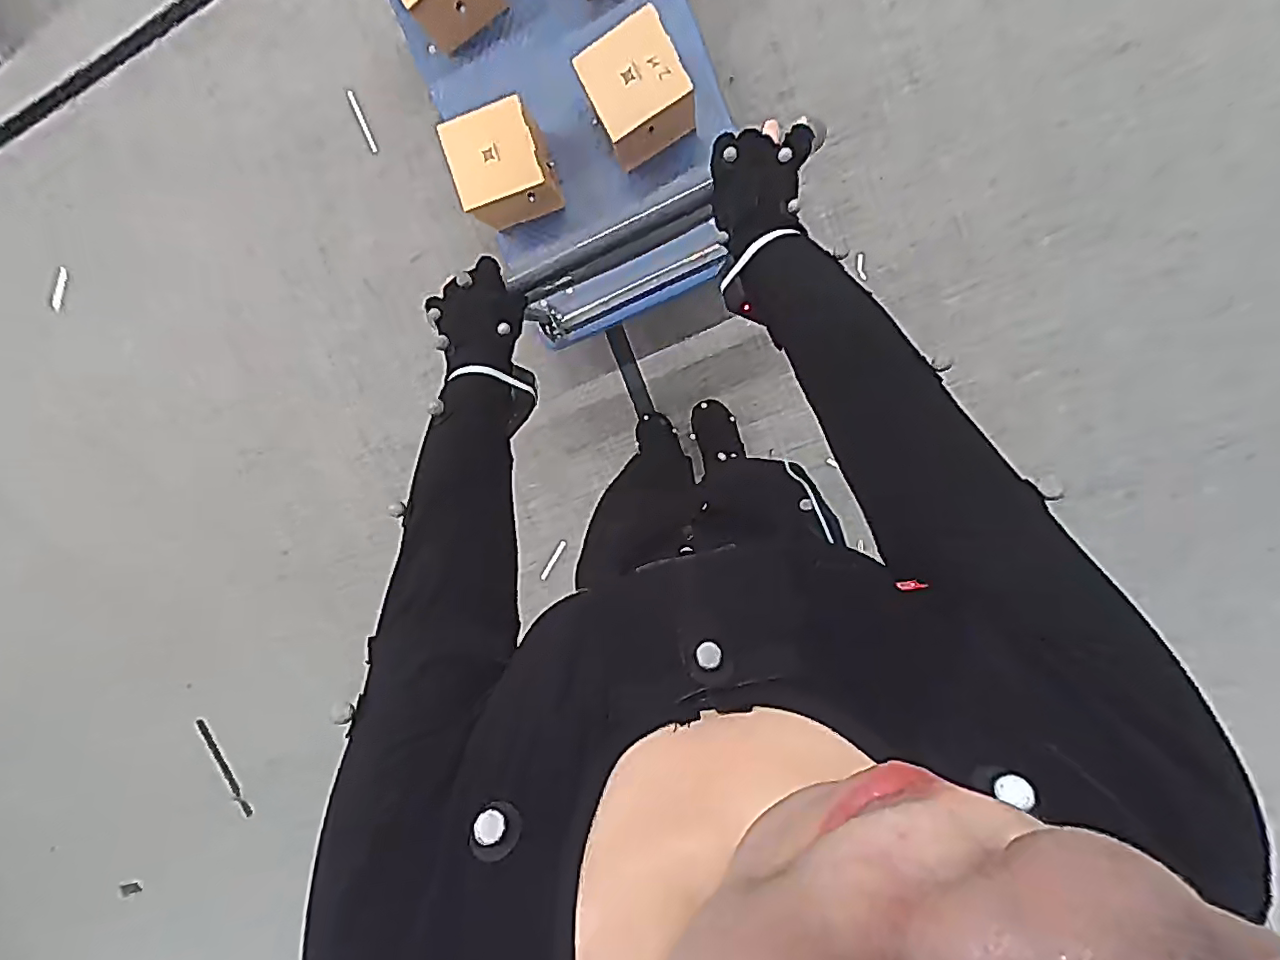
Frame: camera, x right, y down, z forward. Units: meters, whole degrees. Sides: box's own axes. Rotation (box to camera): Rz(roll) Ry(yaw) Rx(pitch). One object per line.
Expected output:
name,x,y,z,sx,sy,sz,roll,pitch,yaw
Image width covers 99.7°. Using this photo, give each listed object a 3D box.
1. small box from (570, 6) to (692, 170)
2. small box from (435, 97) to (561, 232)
small box,-0.009,-0.754,1.067,0.179,0.176,0.168,-27,98,12
small box,-0.286,-0.641,1.125,0.179,0.176,0.168,-16,99,8
